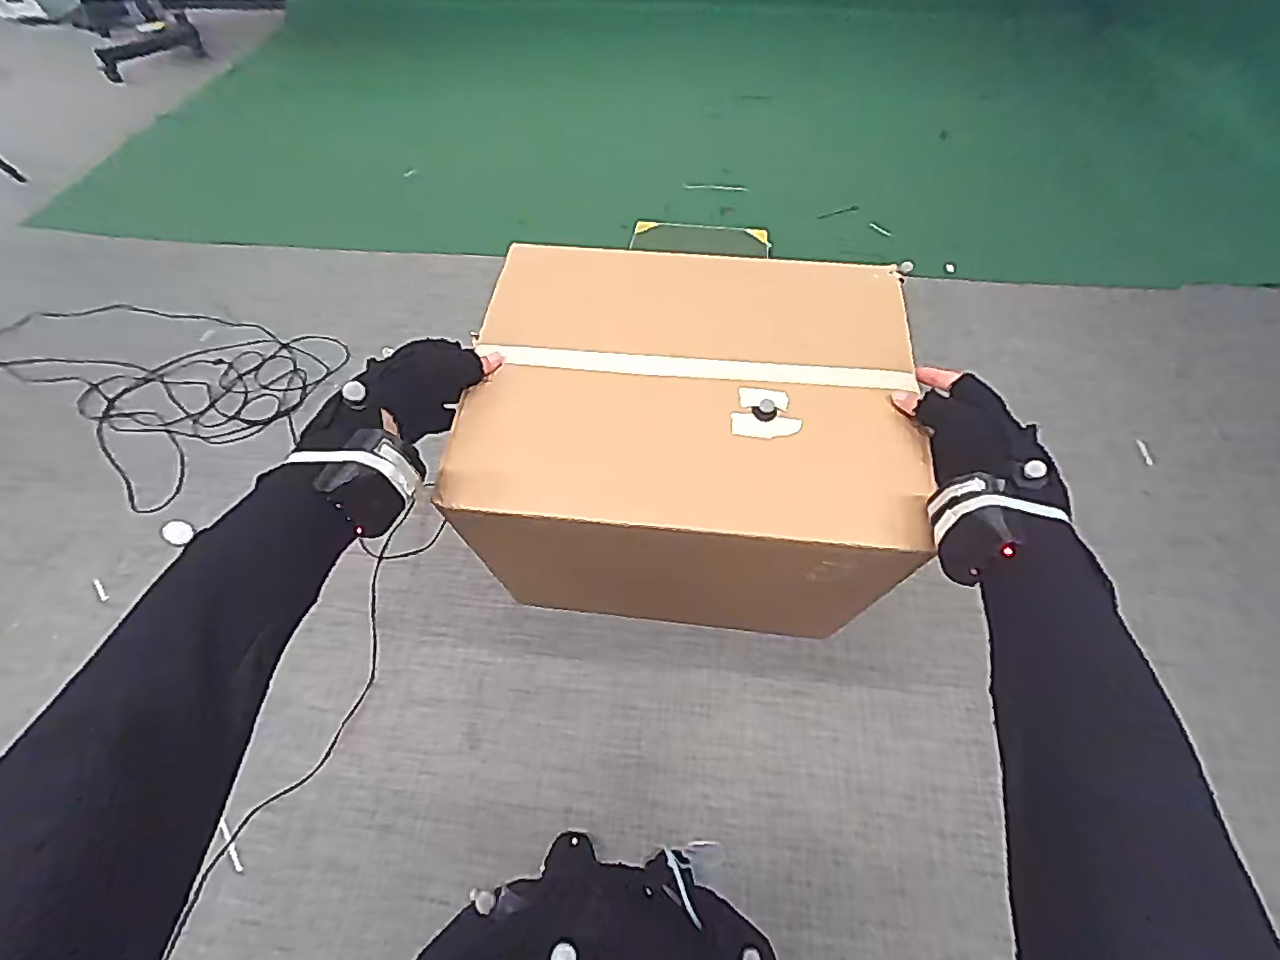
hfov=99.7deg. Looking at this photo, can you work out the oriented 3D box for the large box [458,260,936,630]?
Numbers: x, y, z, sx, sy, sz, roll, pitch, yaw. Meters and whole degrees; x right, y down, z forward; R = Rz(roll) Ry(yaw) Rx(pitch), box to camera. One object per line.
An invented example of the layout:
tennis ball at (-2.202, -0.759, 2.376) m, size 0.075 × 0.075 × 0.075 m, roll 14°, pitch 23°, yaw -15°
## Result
large box at (0.055, -0.024, 0.642) m, size 0.408 × 0.320 × 0.320 m, roll 5°, pitch 63°, yaw 3°
